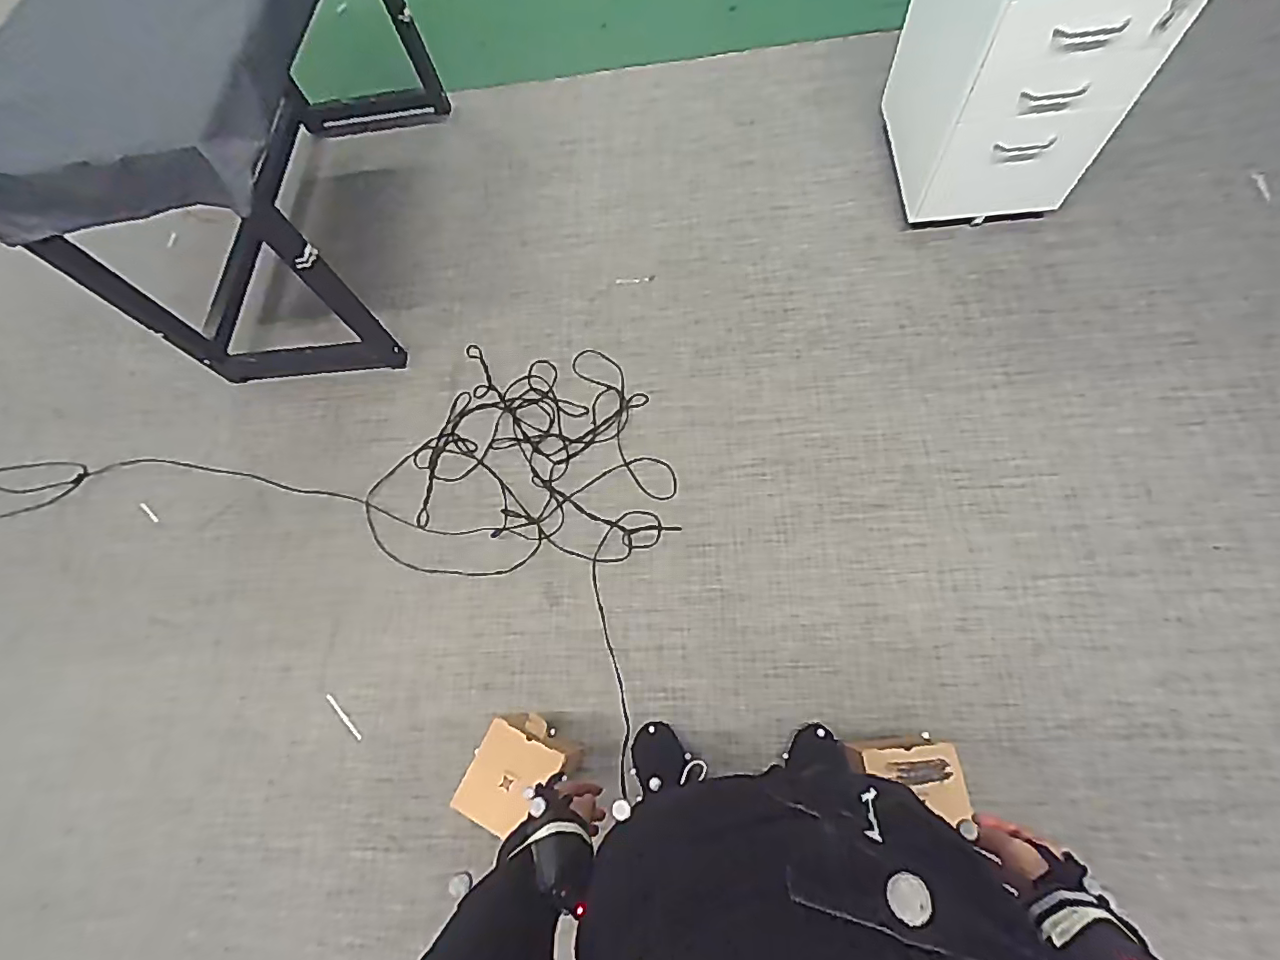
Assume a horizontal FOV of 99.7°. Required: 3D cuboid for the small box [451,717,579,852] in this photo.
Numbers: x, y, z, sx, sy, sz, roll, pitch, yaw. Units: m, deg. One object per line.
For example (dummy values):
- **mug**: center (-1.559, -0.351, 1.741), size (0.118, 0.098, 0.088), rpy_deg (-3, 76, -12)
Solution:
- **small box**: center (-0.241, 0.605, 1.101), size (0.168, 0.176, 0.179), rpy_deg (22, 72, 15)
